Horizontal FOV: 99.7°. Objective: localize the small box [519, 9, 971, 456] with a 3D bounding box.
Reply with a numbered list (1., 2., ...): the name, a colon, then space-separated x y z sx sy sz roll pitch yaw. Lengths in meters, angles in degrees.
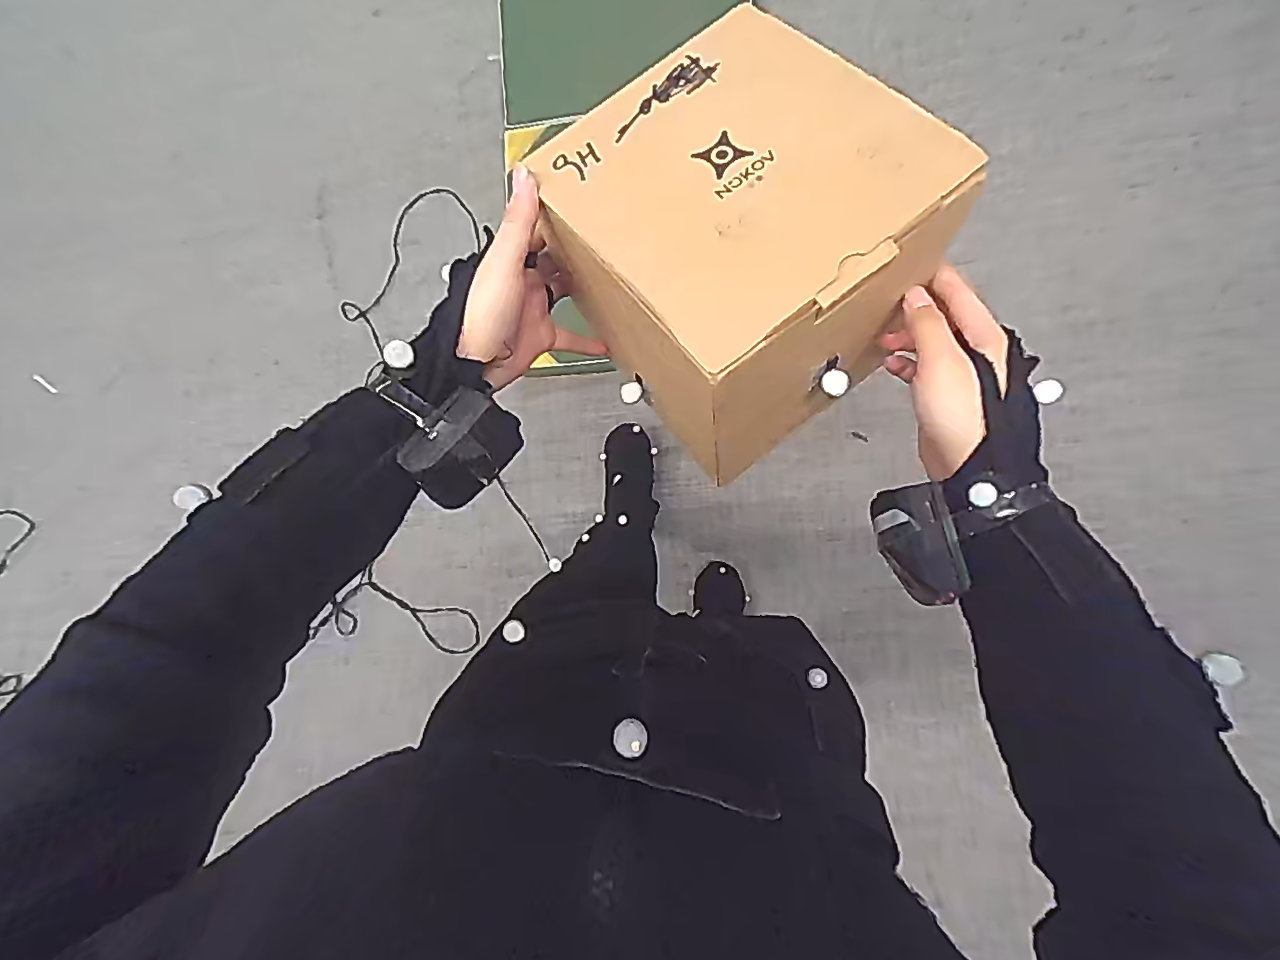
1. small box: 0.057 -0.135 0.354 0.168 0.176 0.179 -37 71 -5
